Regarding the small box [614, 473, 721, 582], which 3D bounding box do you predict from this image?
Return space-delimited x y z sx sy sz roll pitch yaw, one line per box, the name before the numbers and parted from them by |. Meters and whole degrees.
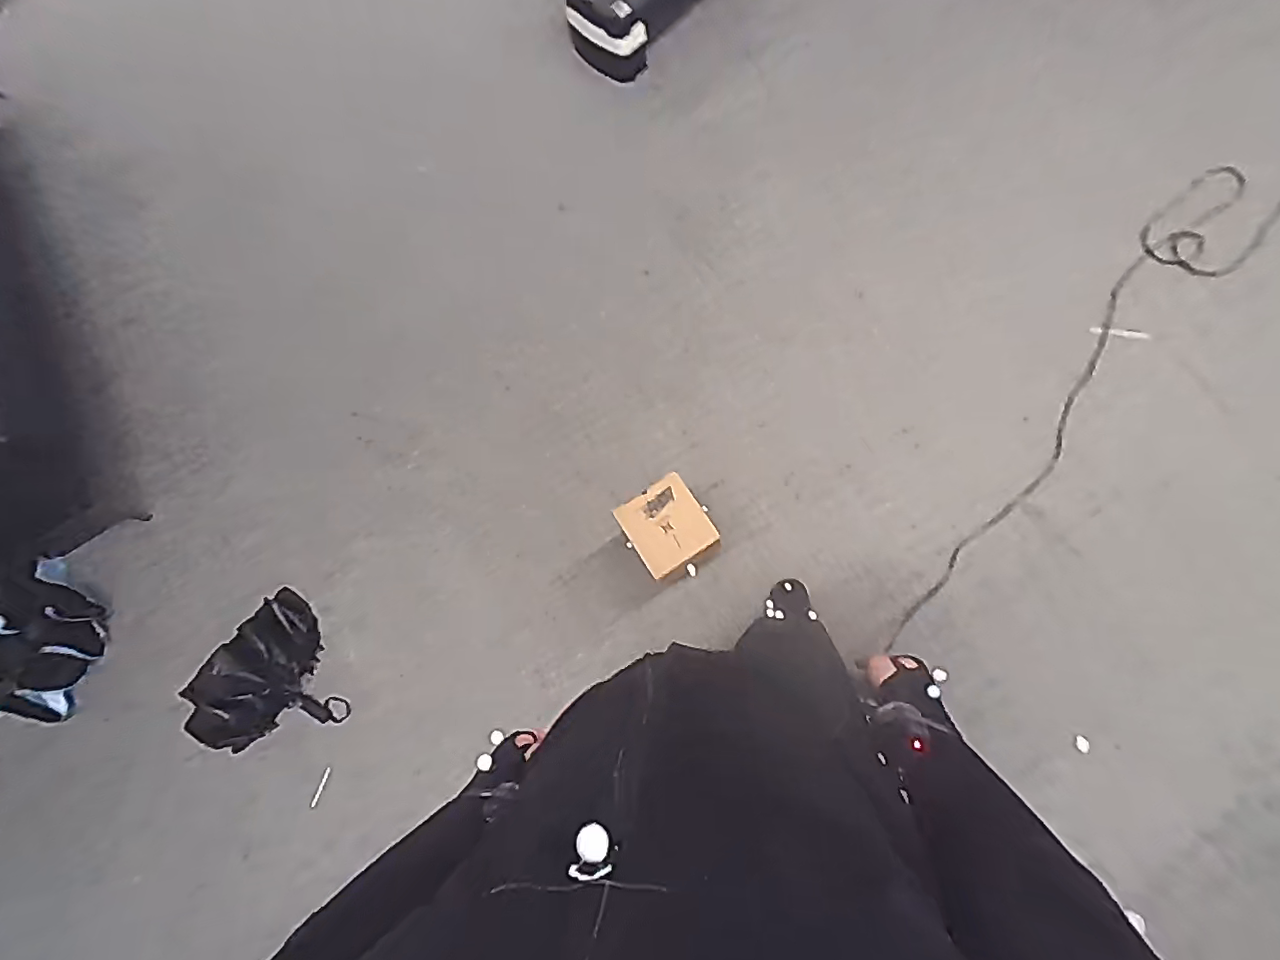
small box | 0.065 0.115 1.215 0.168 0.176 0.179 -34 75 -1
